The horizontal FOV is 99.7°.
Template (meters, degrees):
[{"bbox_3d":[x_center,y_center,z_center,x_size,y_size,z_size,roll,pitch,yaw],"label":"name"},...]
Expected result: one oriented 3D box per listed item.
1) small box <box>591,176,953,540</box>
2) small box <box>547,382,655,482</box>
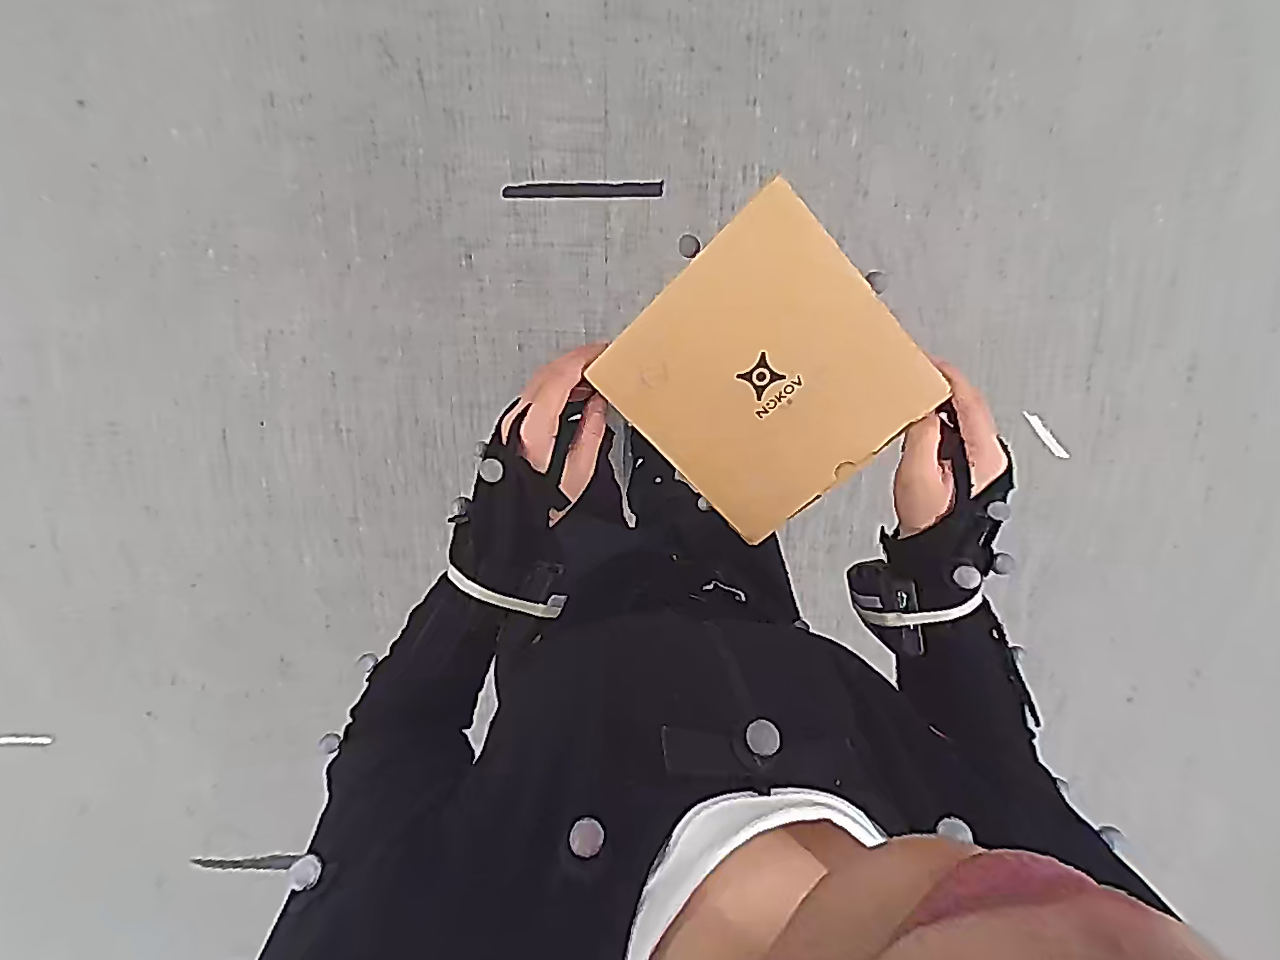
[{"bbox_3d":[0.087,-0.093,0.421,0.179,0.176,0.168,44,109,-13],"label":"small box"},{"bbox_3d":[-0.092,-0.117,1.263,0.179,0.176,0.168,-19,75,-33],"label":"small box"}]
